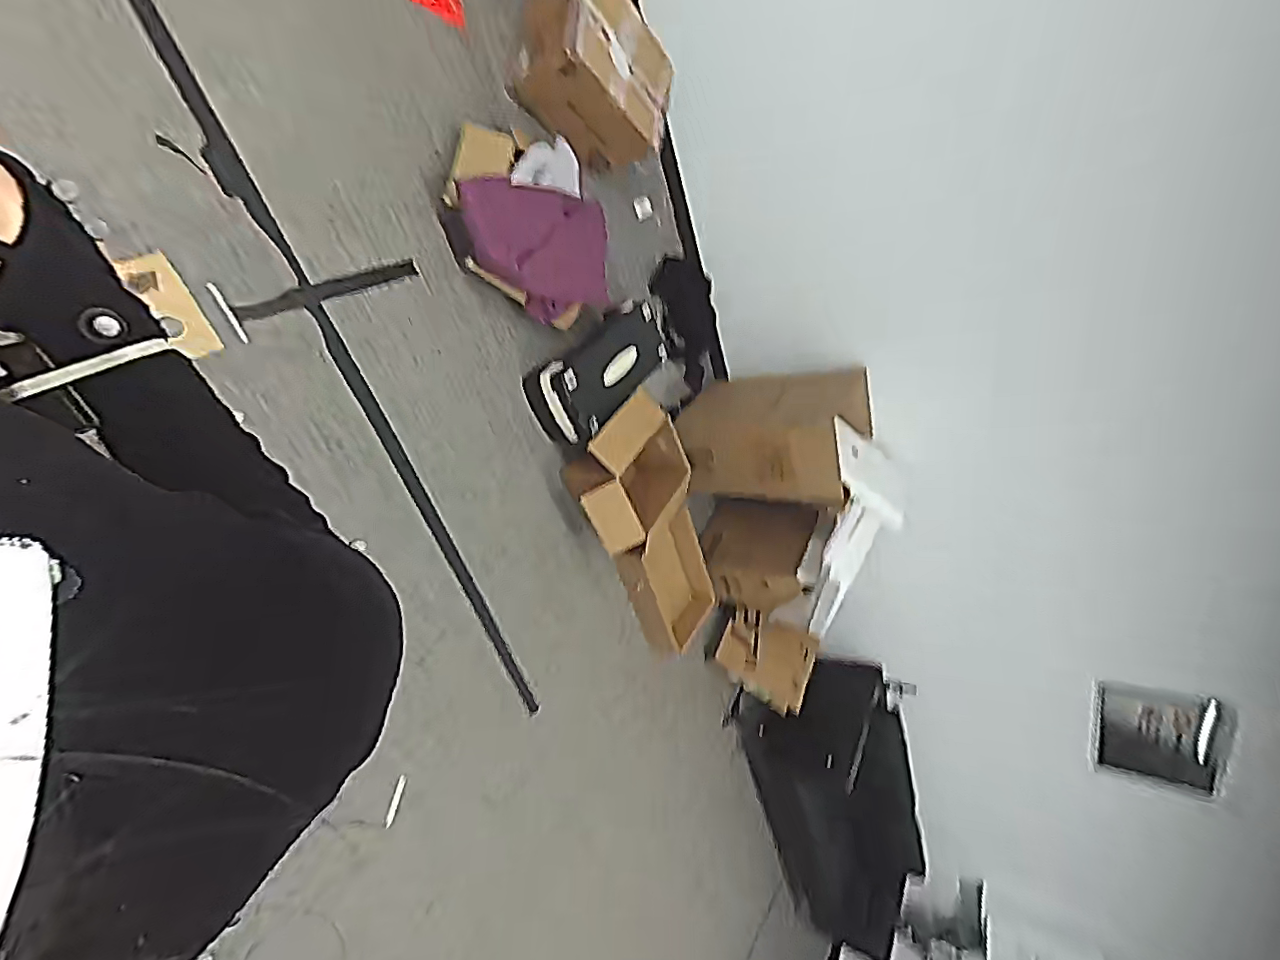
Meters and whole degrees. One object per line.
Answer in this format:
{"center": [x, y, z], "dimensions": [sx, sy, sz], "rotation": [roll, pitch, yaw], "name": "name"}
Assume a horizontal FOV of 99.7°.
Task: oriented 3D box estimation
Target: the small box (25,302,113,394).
{"center": [-1.032, -0.281, 1.057], "dimensions": [0.179, 0.176, 0.168], "rotation": [-48, 127, -39], "name": "small box"}

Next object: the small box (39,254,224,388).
{"center": [-0.900, -0.277, 0.958], "dimensions": [0.168, 0.176, 0.179], "rotation": [-44, 125, -42], "name": "small box"}
